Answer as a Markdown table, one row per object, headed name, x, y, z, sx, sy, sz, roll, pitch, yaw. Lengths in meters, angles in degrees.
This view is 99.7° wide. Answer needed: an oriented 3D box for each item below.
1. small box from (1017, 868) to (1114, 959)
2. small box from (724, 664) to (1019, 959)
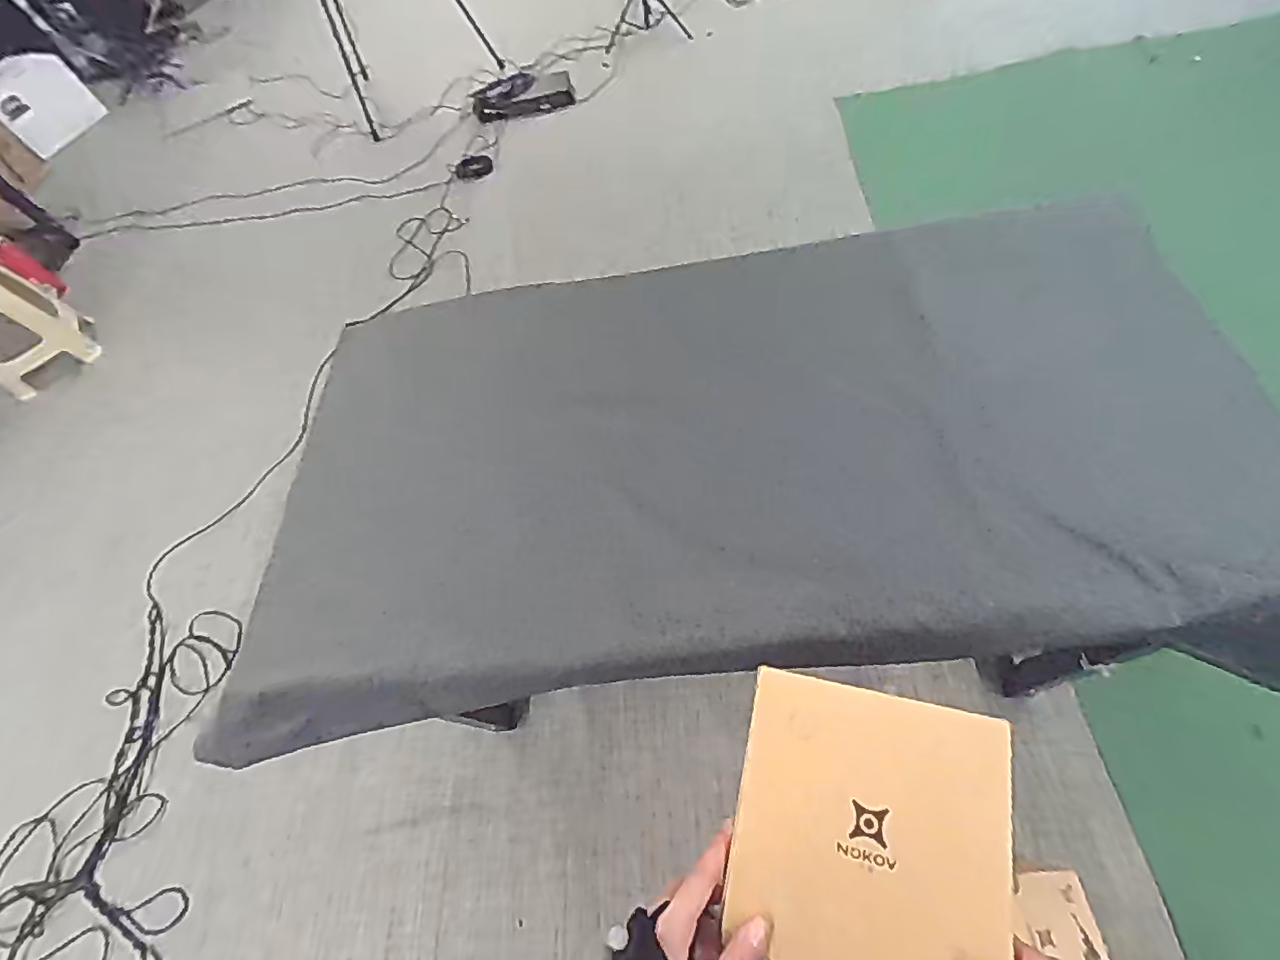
| name | x | y | z | sx | sy | sz | roll | pitch | yaw |
| --- | --- | --- | --- | --- | --- | --- | --- | --- | --- |
| small box | 0.629 | 0.745 | 0.885 | 0.179 | 0.176 | 0.168 | -8 | 57 | 7 |
| small box | 0.163 | 0.256 | 0.417 | 0.168 | 0.176 | 0.179 | 7 | 68 | 16 |
